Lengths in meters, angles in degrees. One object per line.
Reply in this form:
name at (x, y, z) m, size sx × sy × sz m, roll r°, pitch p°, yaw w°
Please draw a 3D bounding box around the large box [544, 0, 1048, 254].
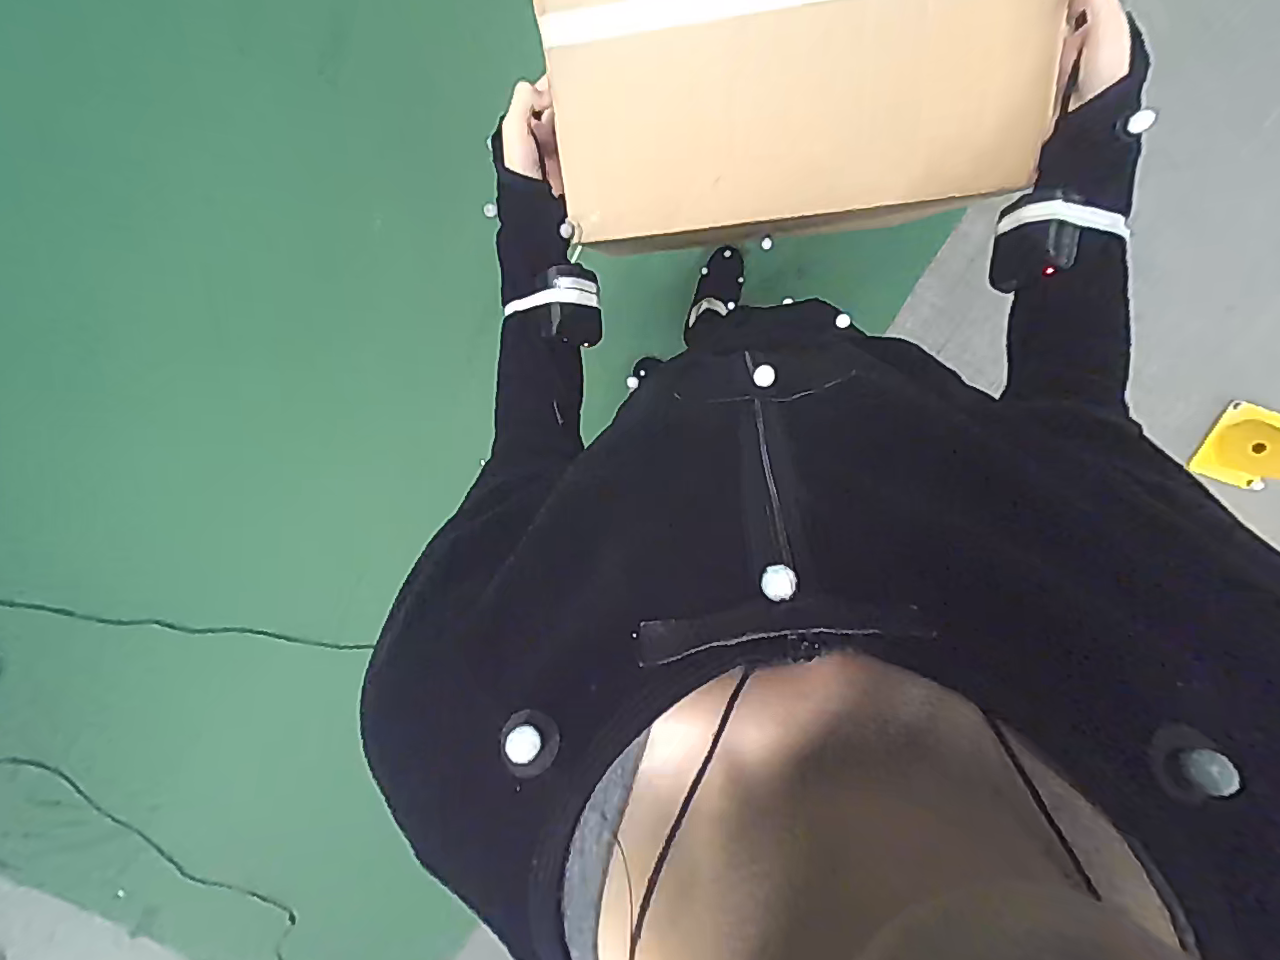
large box at (0.133, -0.432, 0.574) m, size 0.408 × 0.320 × 0.320 m, roll -4°, pitch 109°, yaw 6°
